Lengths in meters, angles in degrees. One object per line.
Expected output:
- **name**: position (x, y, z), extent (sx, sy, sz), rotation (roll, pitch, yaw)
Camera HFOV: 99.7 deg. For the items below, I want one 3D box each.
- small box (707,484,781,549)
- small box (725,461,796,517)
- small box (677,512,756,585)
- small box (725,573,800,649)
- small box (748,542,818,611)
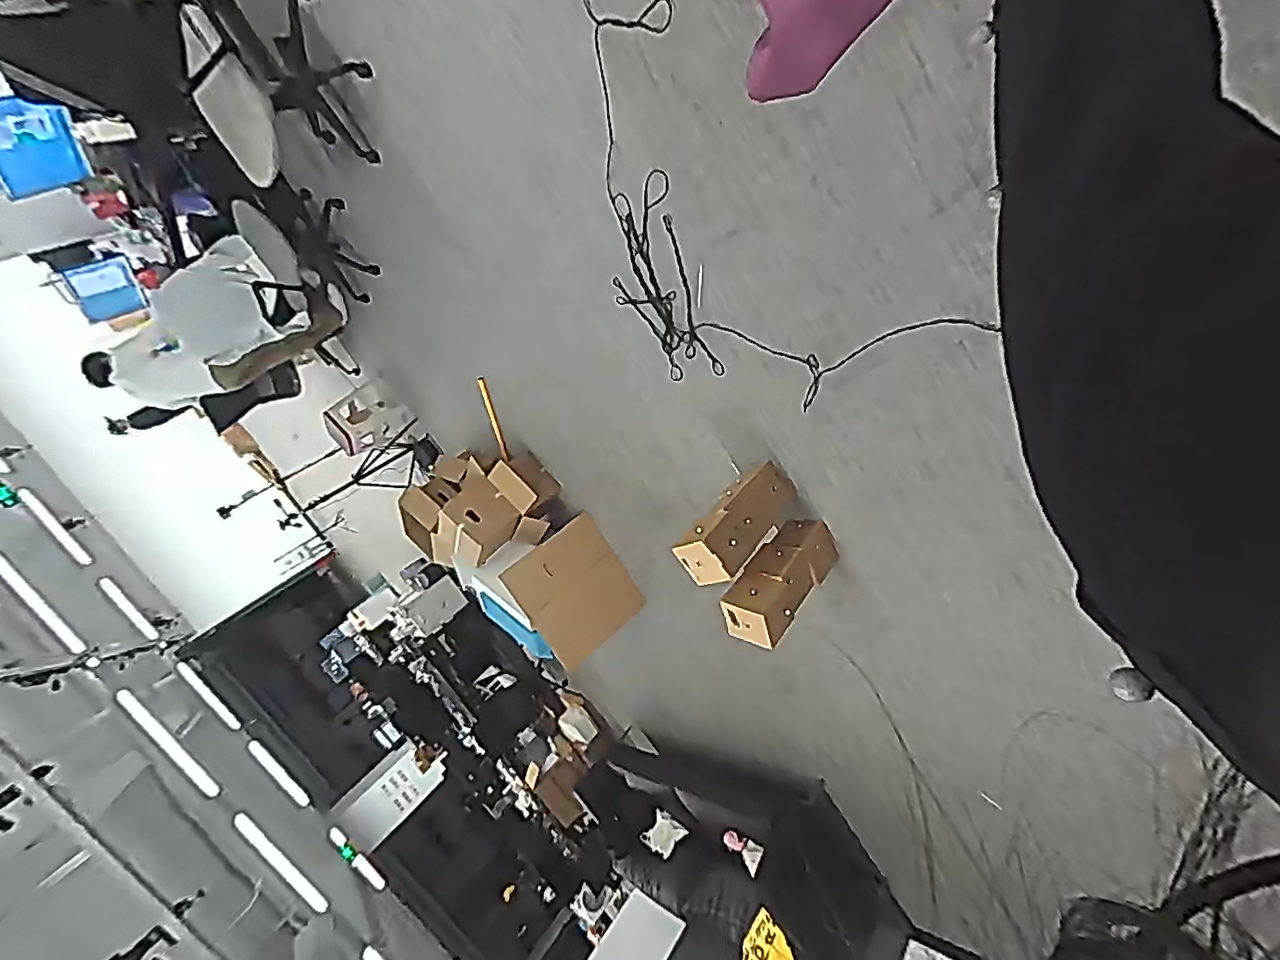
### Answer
- **small box**: position (0.367, 0.144, 1.920), extent (0.179, 0.176, 0.168), rotation (49, 145, 0)
- **small box**: position (0.458, 0.053, 2.021), extent (0.168, 0.176, 0.179), rotation (52, 146, -4)
- **small box**: position (0.267, 0.228, 1.824), extent (0.168, 0.176, 0.179), rotation (54, 144, -7)
- **small box**: position (0.424, 0.441, 1.855), extent (0.179, 0.176, 0.168), rotation (10, 129, 43)
- **small box**: position (0.522, 0.353, 1.953), extent (0.168, 0.176, 0.179), rotation (5, 125, 47)
